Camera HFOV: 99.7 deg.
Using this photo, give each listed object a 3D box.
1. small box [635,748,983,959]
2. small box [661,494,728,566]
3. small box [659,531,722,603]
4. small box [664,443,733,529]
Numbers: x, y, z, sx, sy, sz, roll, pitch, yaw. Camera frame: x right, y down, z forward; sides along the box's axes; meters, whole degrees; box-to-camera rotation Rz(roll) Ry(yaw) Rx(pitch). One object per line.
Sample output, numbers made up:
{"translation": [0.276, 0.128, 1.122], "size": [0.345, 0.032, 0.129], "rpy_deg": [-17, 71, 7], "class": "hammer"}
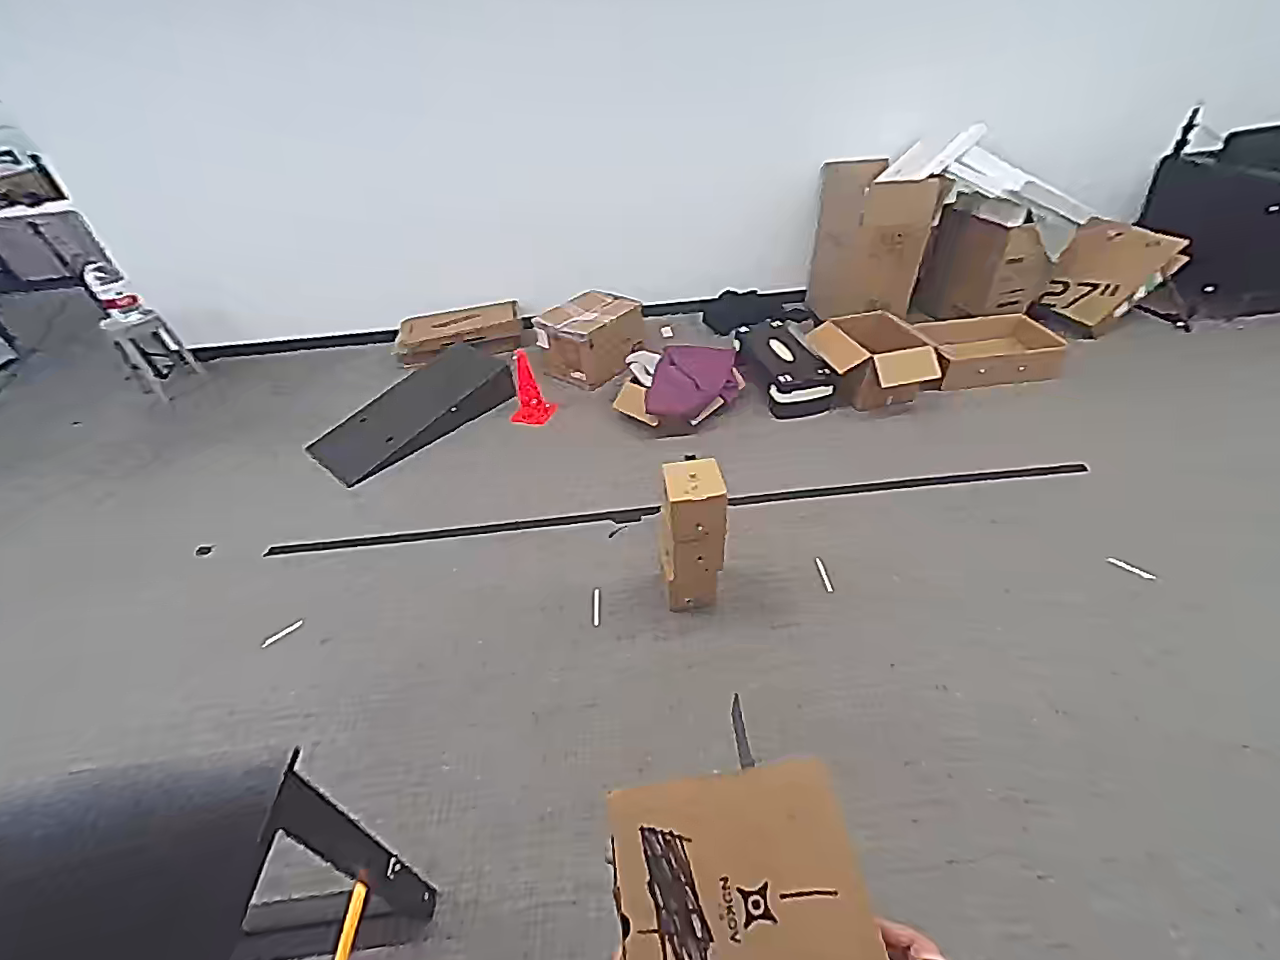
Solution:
{"translation": [0.095, 0.296, 0.358], "size": [0.179, 0.176, 0.168], "rpy_deg": [-7, 52, -4], "class": "small box"}
{"translation": [0.167, 0.147, 1.655], "size": [0.168, 0.176, 0.179], "rpy_deg": [-11, 41, -6], "class": "small box"}
{"translation": [0.161, 0.273, 1.761], "size": [0.168, 0.176, 0.179], "rpy_deg": [-10, 42, -5], "class": "small box"}
{"translation": [0.163, 0.017, 1.551], "size": [0.168, 0.176, 0.179], "rpy_deg": [-8, 40, -2], "class": "small box"}
